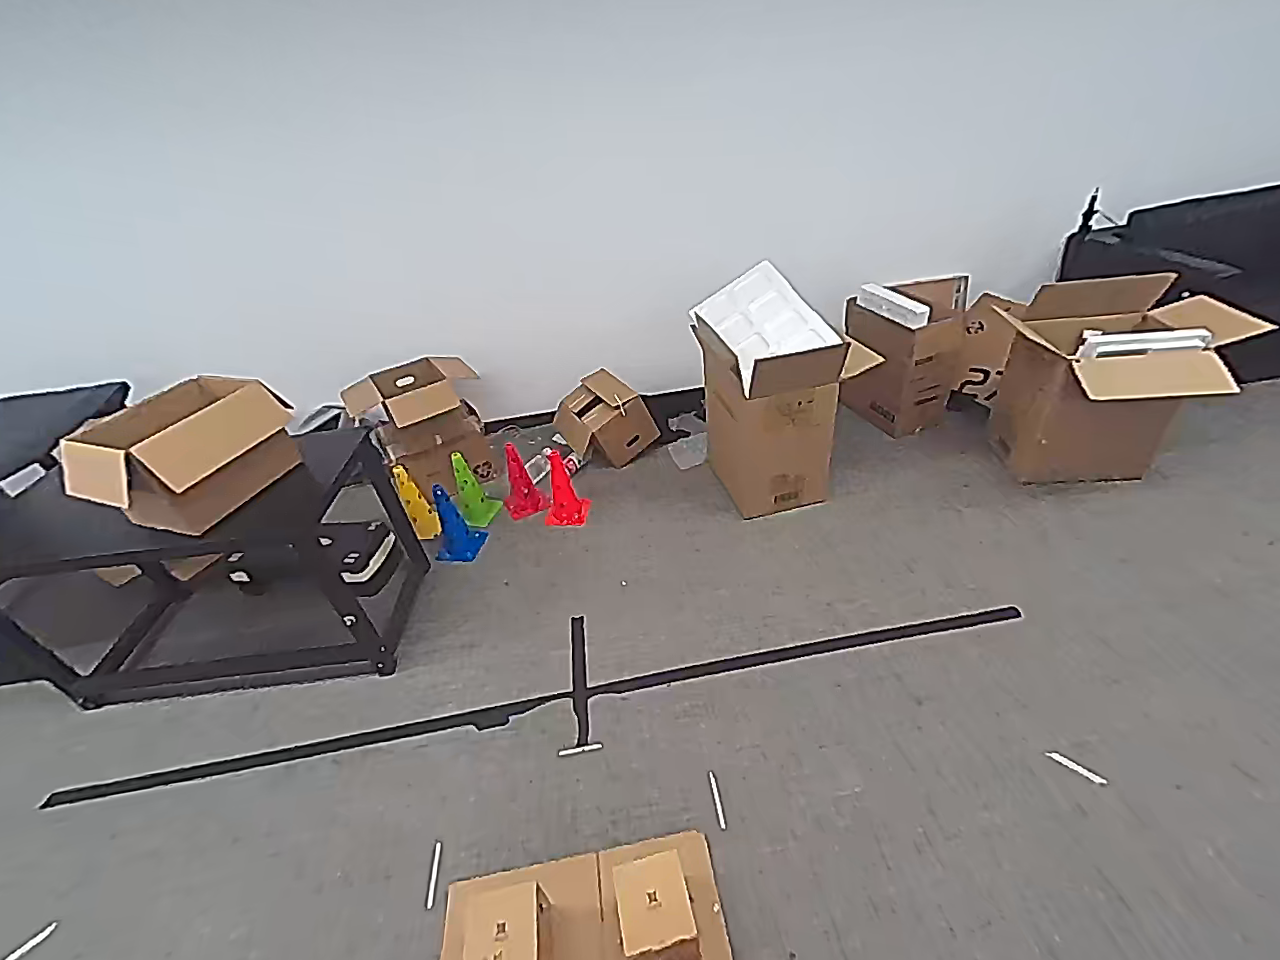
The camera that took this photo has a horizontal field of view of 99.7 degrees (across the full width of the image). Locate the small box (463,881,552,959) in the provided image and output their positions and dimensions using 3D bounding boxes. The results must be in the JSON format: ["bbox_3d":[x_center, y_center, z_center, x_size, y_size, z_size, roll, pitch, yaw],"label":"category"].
[{"bbox_3d":[-0.302,1.077,1.255,0.168,0.176,0.179,-11,36,-3],"label":"small box"}]

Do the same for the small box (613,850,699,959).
[{"bbox_3d":[0.036,1.024,1.277,0.168,0.176,0.179,-12,36,-7],"label":"small box"}]
